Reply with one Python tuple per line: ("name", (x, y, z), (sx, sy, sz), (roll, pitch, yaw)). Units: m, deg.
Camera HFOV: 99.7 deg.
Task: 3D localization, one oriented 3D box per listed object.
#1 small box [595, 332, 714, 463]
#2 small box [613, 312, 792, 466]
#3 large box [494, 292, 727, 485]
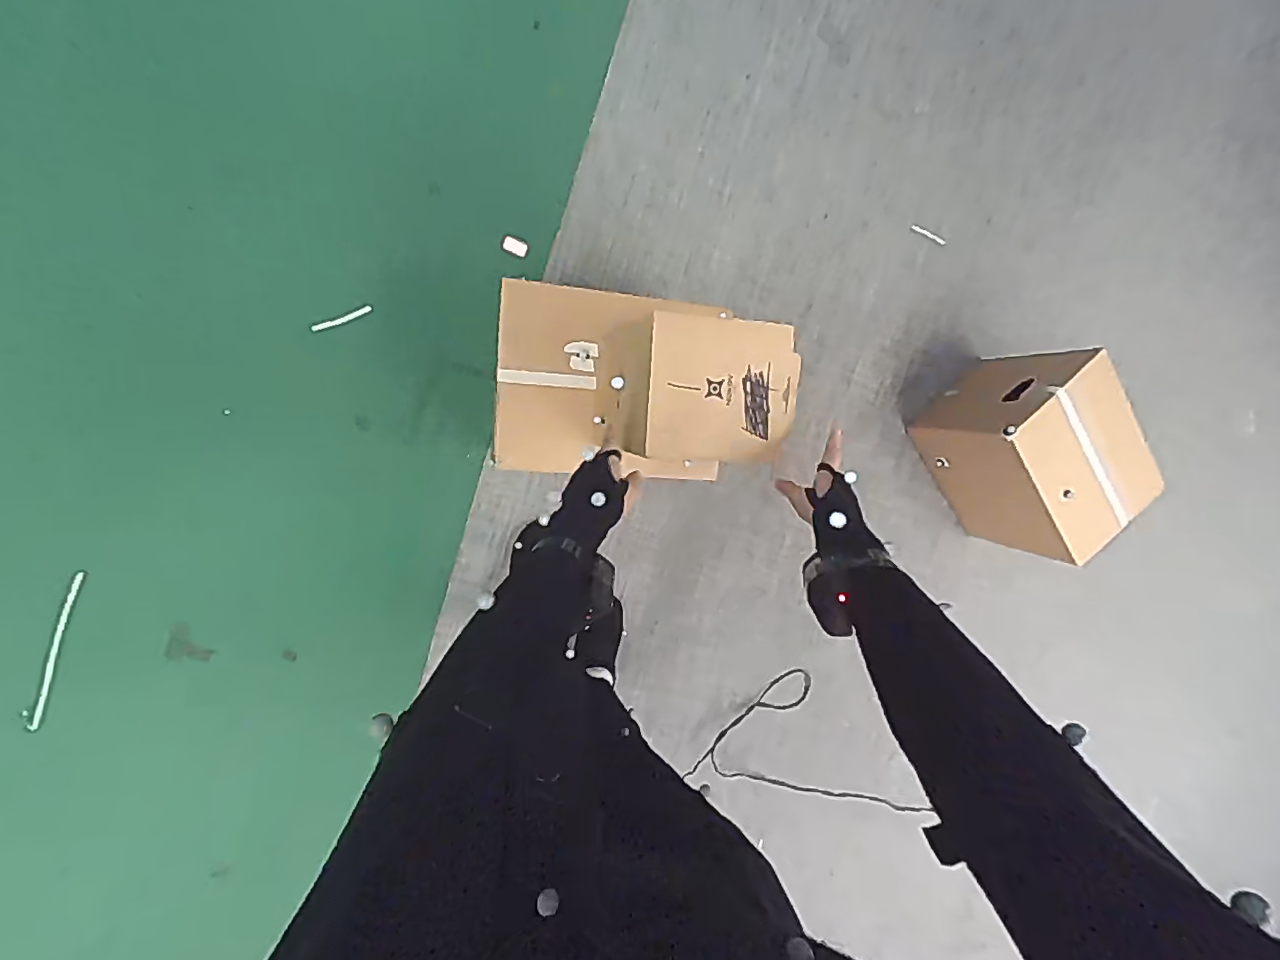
("small box", (0.026, -0.125, 0.858), (0.168, 0.176, 0.179), (3, 95, -15))
("small box", (0.071, -0.111, 0.700), (0.179, 0.176, 0.168), (2, 95, -15))
("large box", (-0.075, -0.165, 1.081), (0.408, 0.320, 0.320), (2, 94, -14))
